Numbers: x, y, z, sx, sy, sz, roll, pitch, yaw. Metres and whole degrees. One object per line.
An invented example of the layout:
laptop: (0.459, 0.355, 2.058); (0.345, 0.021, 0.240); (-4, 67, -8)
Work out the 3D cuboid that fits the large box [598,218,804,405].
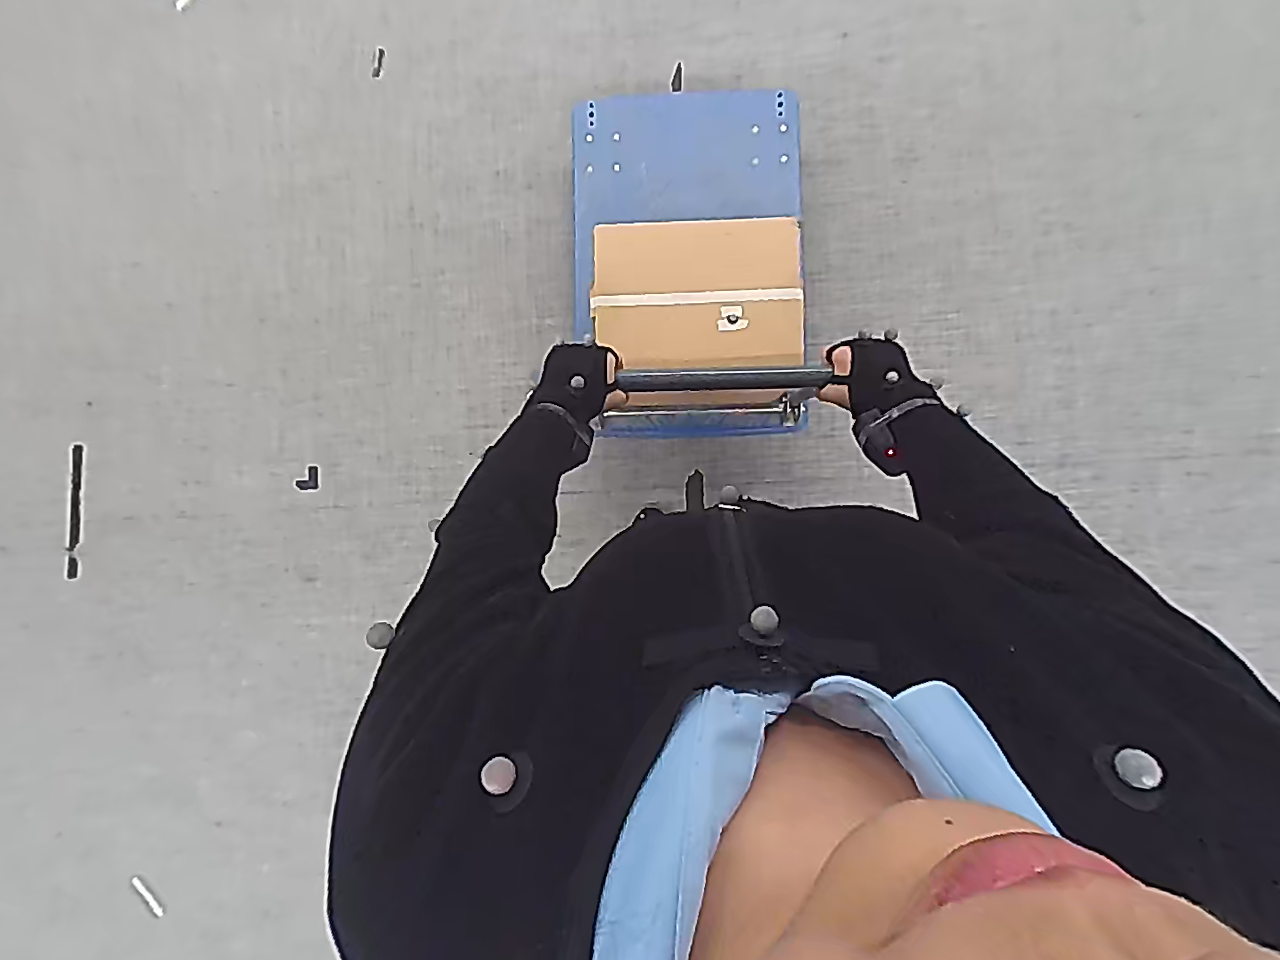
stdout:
large box: (0.122, -0.354, 1.219); (0.408, 0.320, 0.320); (-1, 88, 2)
